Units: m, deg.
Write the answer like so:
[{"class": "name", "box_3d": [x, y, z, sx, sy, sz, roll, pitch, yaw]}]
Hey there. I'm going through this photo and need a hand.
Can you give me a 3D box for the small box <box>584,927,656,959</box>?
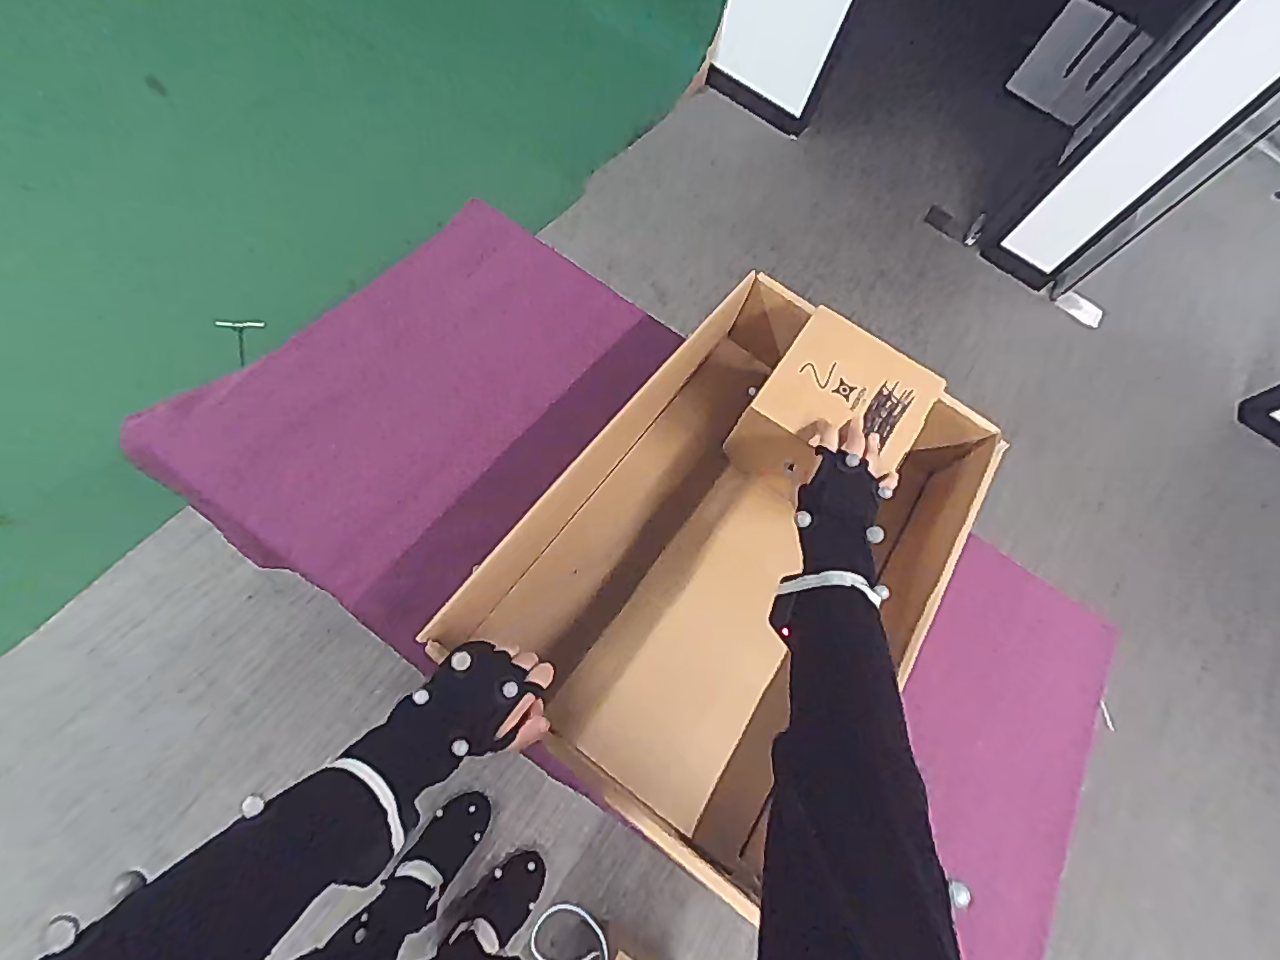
[{"class": "small box", "box_3d": [-0.033, 1.020, 1.044, 0.179, 0.176, 0.168, 34, 65, 6]}]
